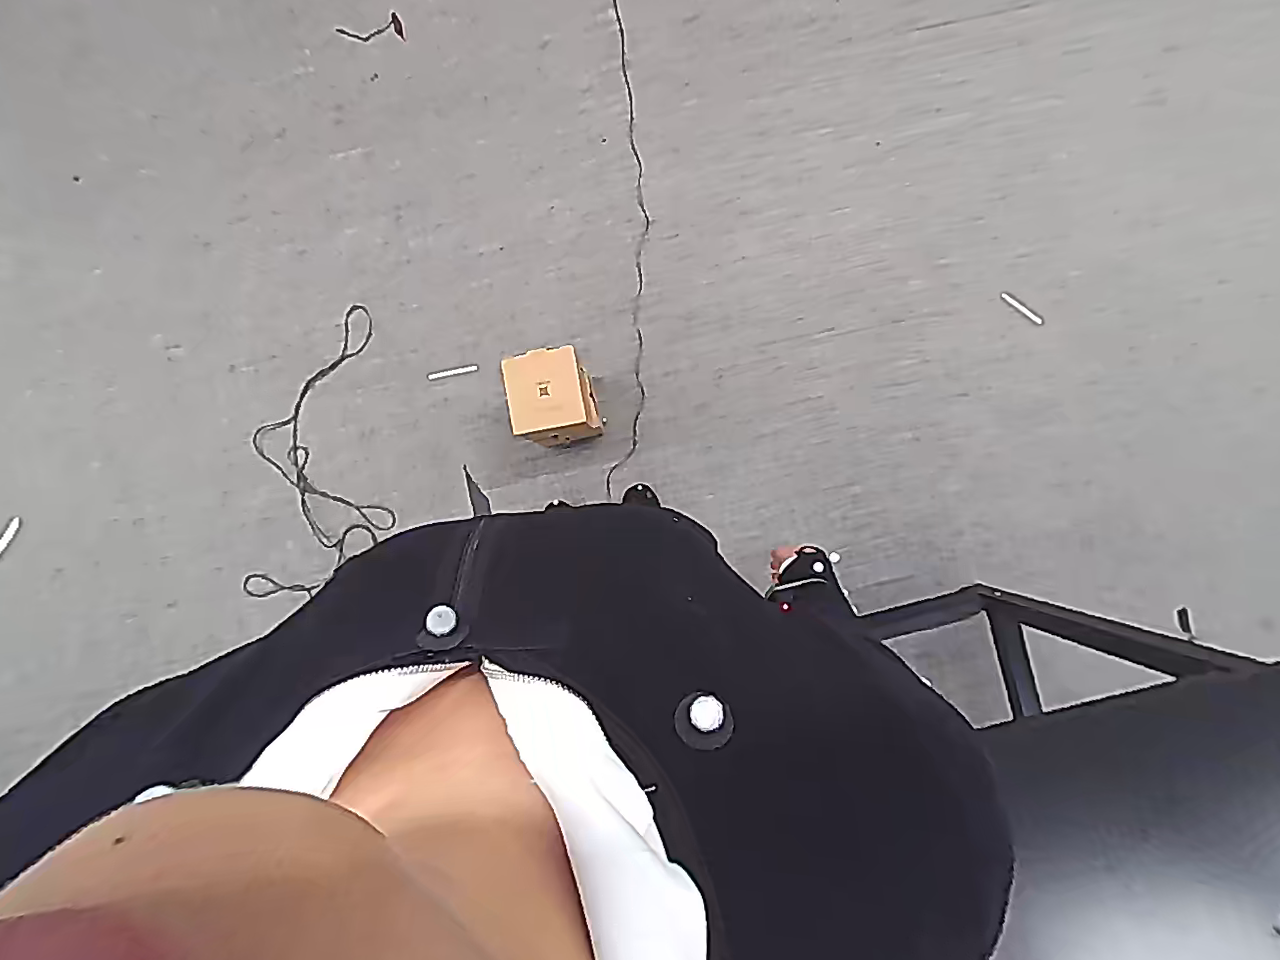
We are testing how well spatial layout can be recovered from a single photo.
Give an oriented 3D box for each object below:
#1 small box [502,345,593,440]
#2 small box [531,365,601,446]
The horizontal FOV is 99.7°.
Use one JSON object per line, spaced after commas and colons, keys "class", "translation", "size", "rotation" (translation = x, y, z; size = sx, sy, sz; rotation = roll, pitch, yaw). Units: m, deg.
{"class": "small box", "translation": [-0.210, -0.198, 1.265], "size": [0.168, 0.176, 0.179], "rotation": [-11, 90, 1]}
{"class": "small box", "translation": [-0.203, -0.192, 1.427], "size": [0.179, 0.176, 0.168], "rotation": [-13, 89, 1]}
